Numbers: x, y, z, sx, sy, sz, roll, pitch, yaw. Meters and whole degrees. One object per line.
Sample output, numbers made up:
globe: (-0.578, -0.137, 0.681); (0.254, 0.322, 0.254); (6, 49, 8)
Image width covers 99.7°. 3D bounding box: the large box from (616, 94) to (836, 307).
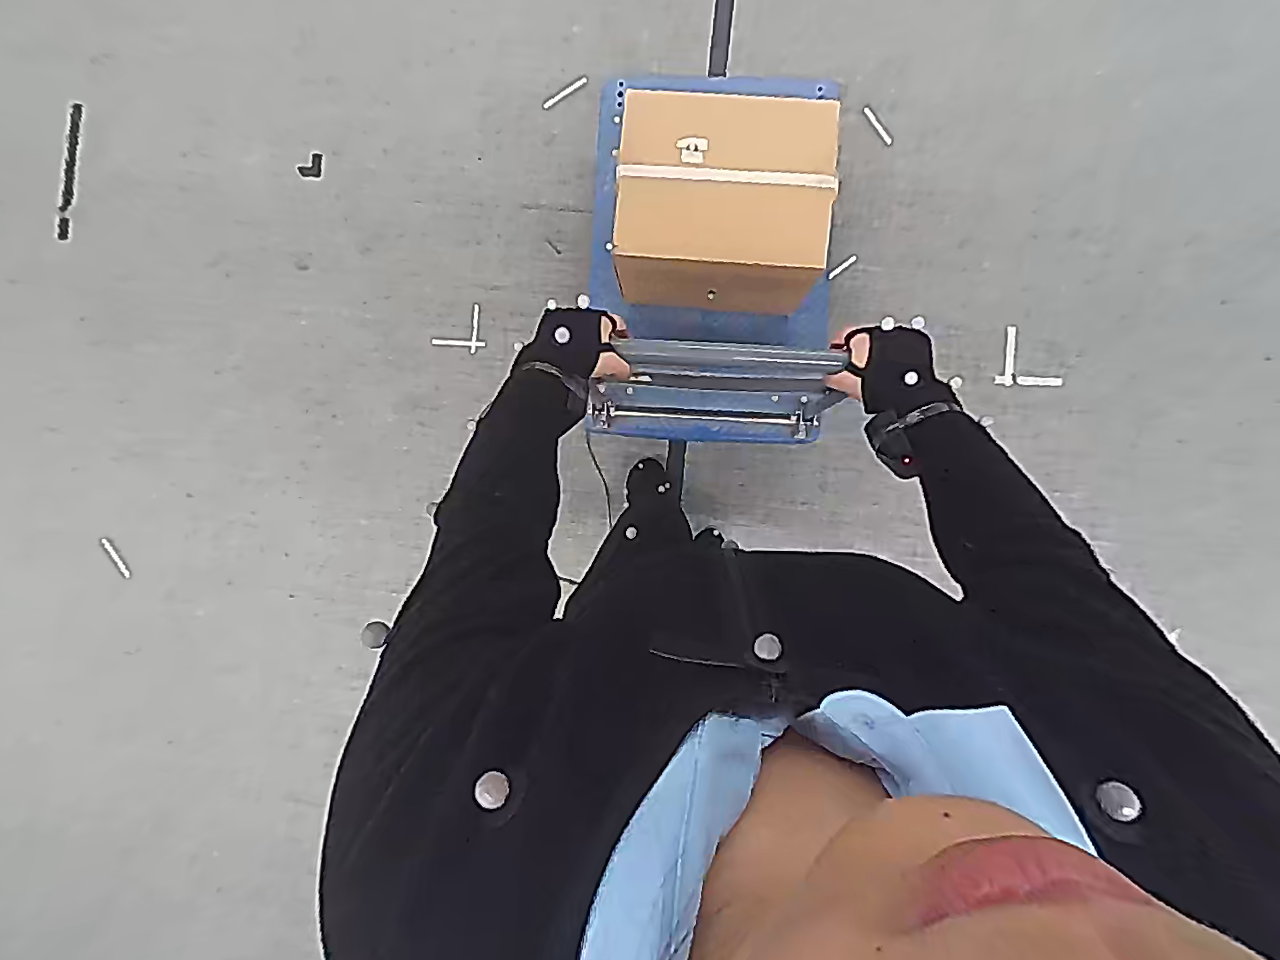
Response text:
large box: (0.172, -0.577, 1.172); (0.408, 0.320, 0.320); (5, 90, 4)
